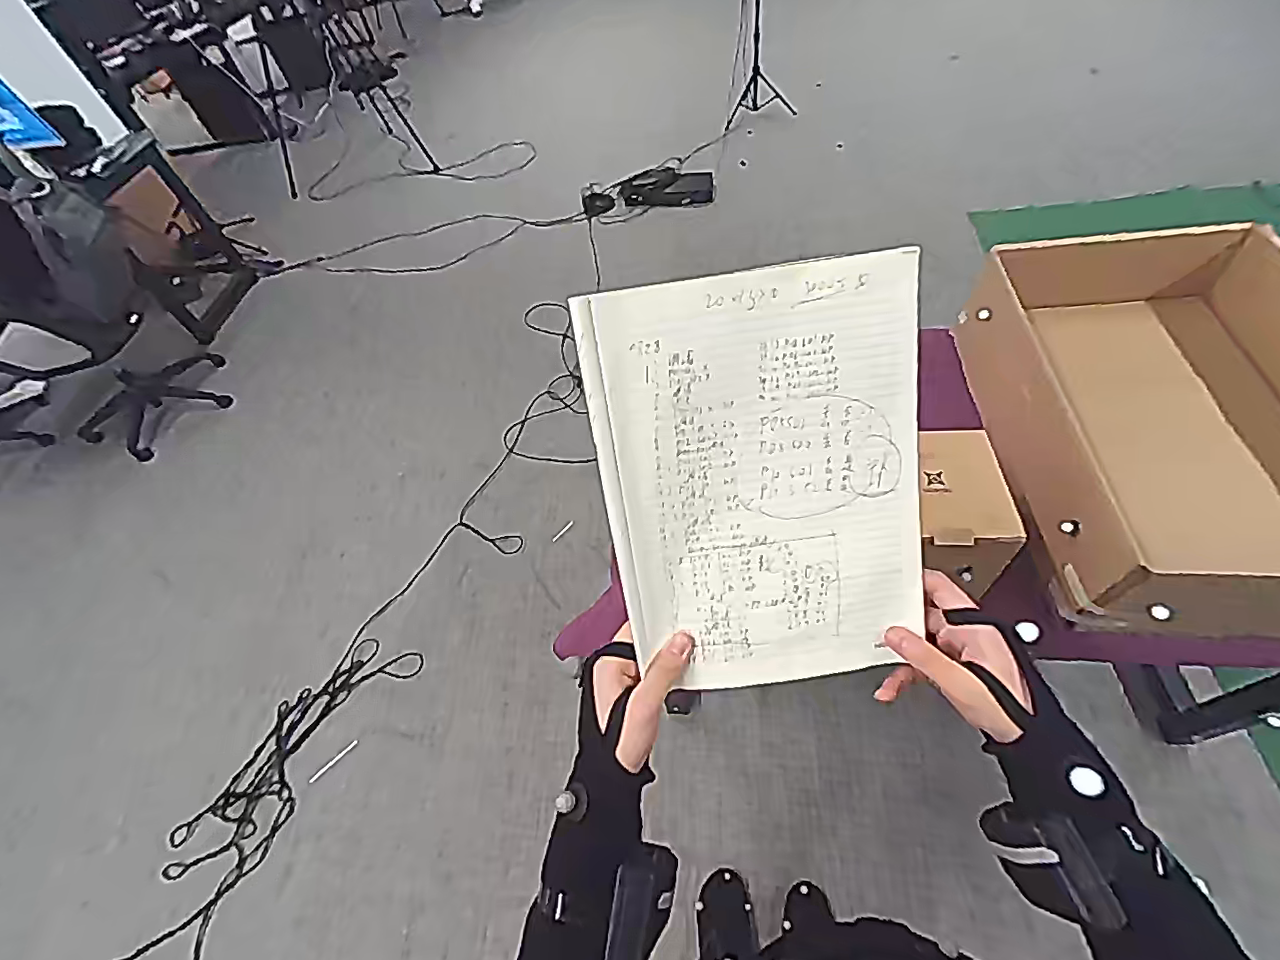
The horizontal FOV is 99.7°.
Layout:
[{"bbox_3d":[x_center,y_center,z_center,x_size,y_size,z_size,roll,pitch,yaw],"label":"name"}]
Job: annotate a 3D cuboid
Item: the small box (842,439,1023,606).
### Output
[{"bbox_3d":[0.387,0.063,0.753,0.168,0.176,0.179,0,51,9],"label":"small box"}]
